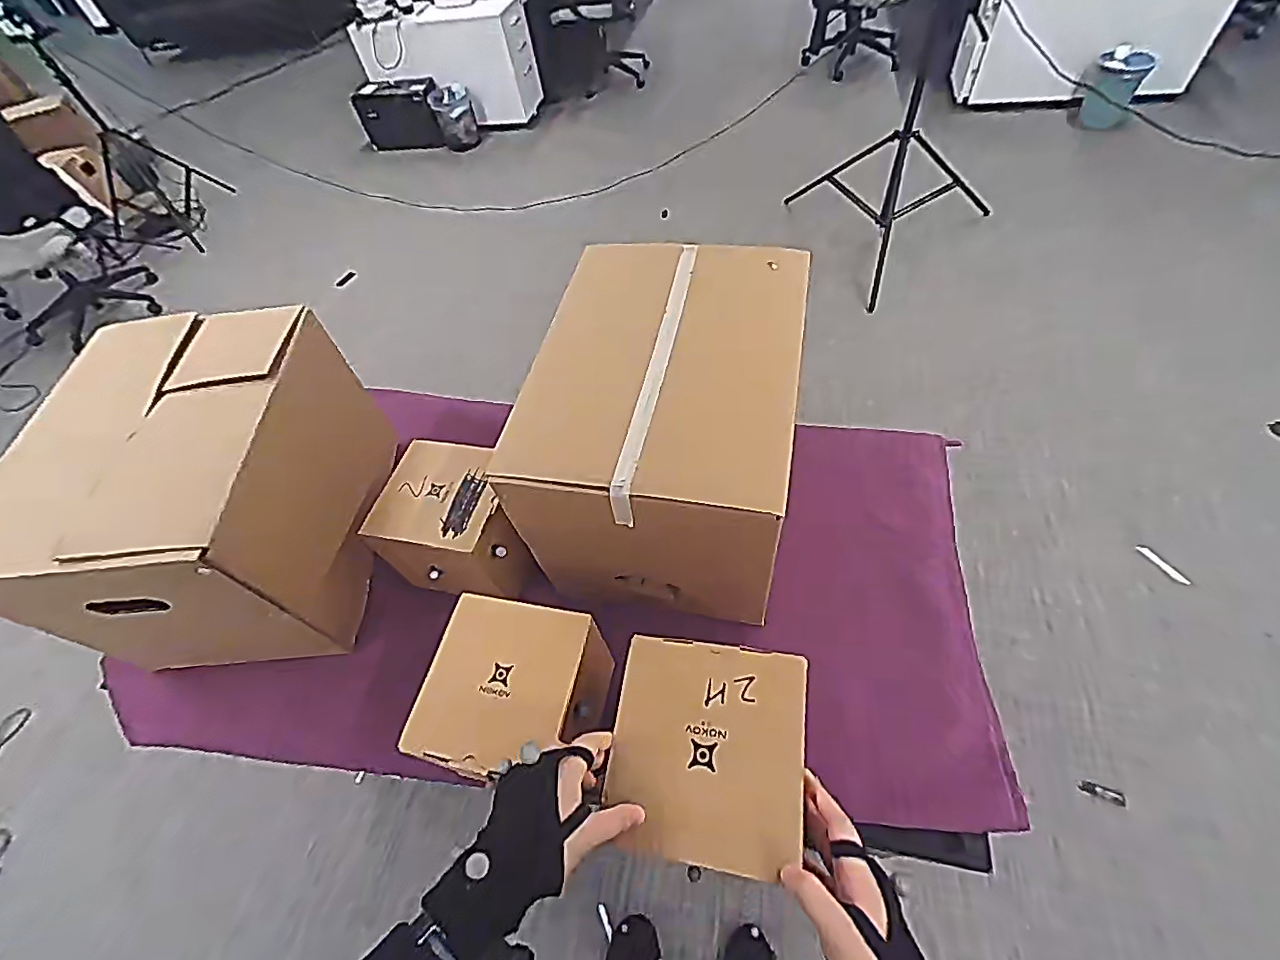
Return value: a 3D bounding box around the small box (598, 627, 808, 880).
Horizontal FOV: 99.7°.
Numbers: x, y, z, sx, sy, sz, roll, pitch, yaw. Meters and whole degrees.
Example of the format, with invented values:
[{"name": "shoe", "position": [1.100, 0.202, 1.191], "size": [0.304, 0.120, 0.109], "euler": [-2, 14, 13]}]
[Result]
[{"name": "small box", "position": [0.072, 0.265, 0.530], "size": [0.168, 0.176, 0.179], "euler": [4, 57, 14]}]
